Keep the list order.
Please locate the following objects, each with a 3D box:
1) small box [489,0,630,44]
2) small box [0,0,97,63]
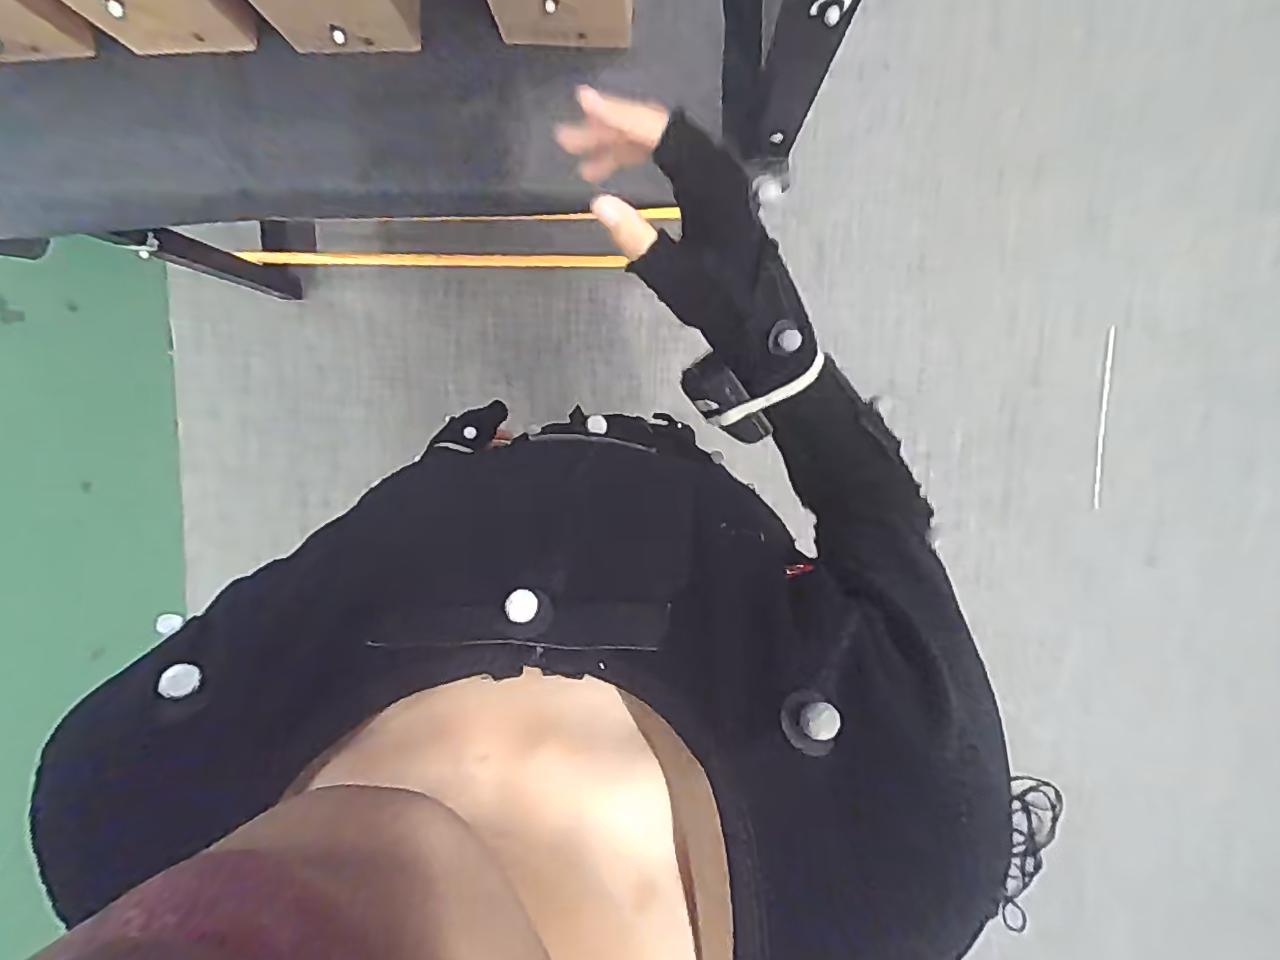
[{"bbox_3d":[-0.094,-0.635,0.606,0.168,0.176,0.179,4,96,1],"label":"small box"},{"bbox_3d":[-0.803,-0.637,0.633,0.168,0.176,0.179,-2,96,2],"label":"small box"}]
